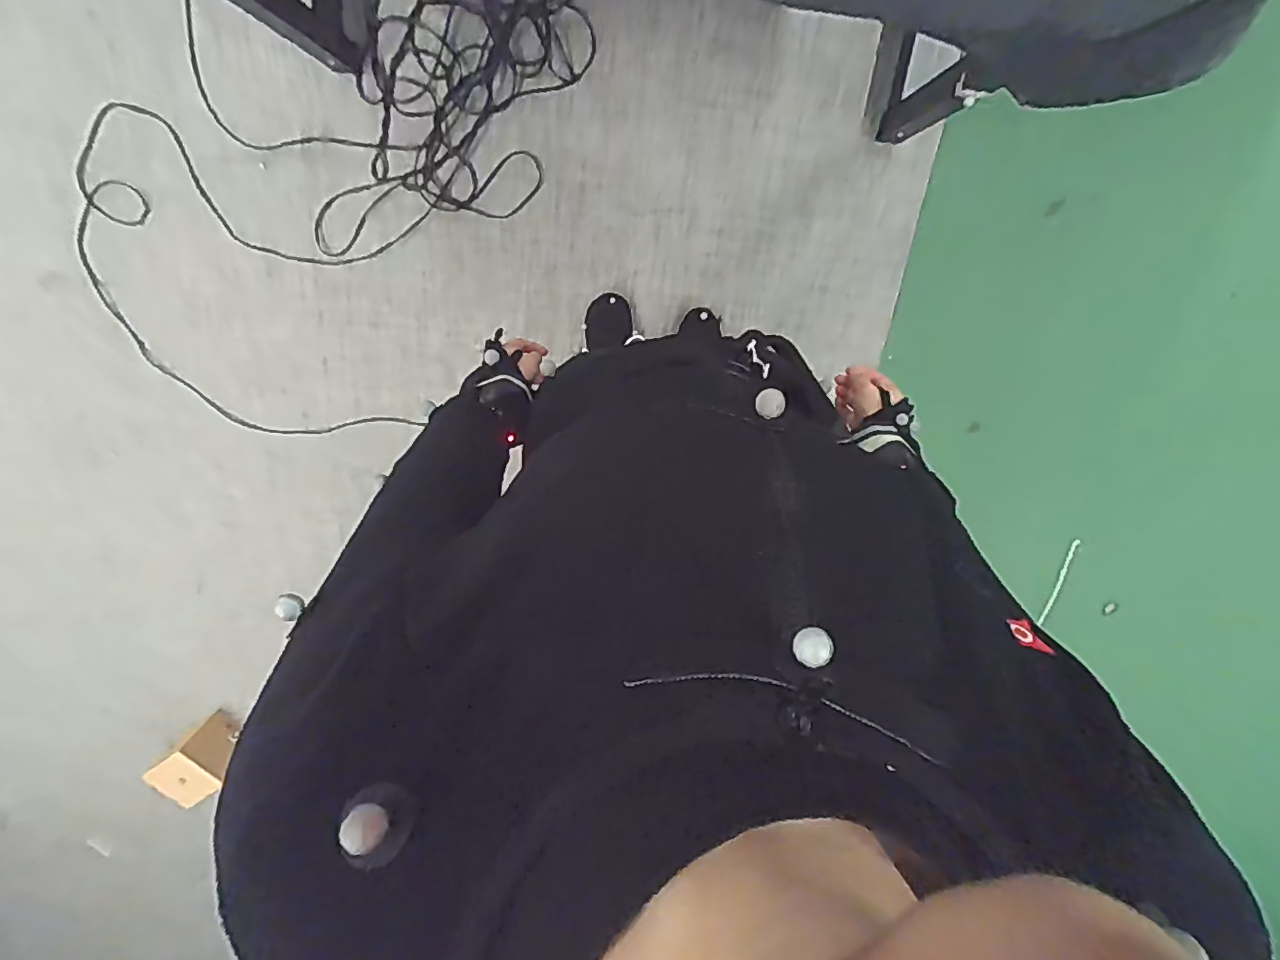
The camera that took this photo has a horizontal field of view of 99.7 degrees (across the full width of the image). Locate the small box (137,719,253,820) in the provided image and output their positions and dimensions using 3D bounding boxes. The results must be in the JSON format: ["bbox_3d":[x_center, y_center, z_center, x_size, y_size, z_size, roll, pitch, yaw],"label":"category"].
[{"bbox_3d":[-1.326,0.865,1.626,0.179,0.176,0.168,-35,107,11],"label":"small box"}]
